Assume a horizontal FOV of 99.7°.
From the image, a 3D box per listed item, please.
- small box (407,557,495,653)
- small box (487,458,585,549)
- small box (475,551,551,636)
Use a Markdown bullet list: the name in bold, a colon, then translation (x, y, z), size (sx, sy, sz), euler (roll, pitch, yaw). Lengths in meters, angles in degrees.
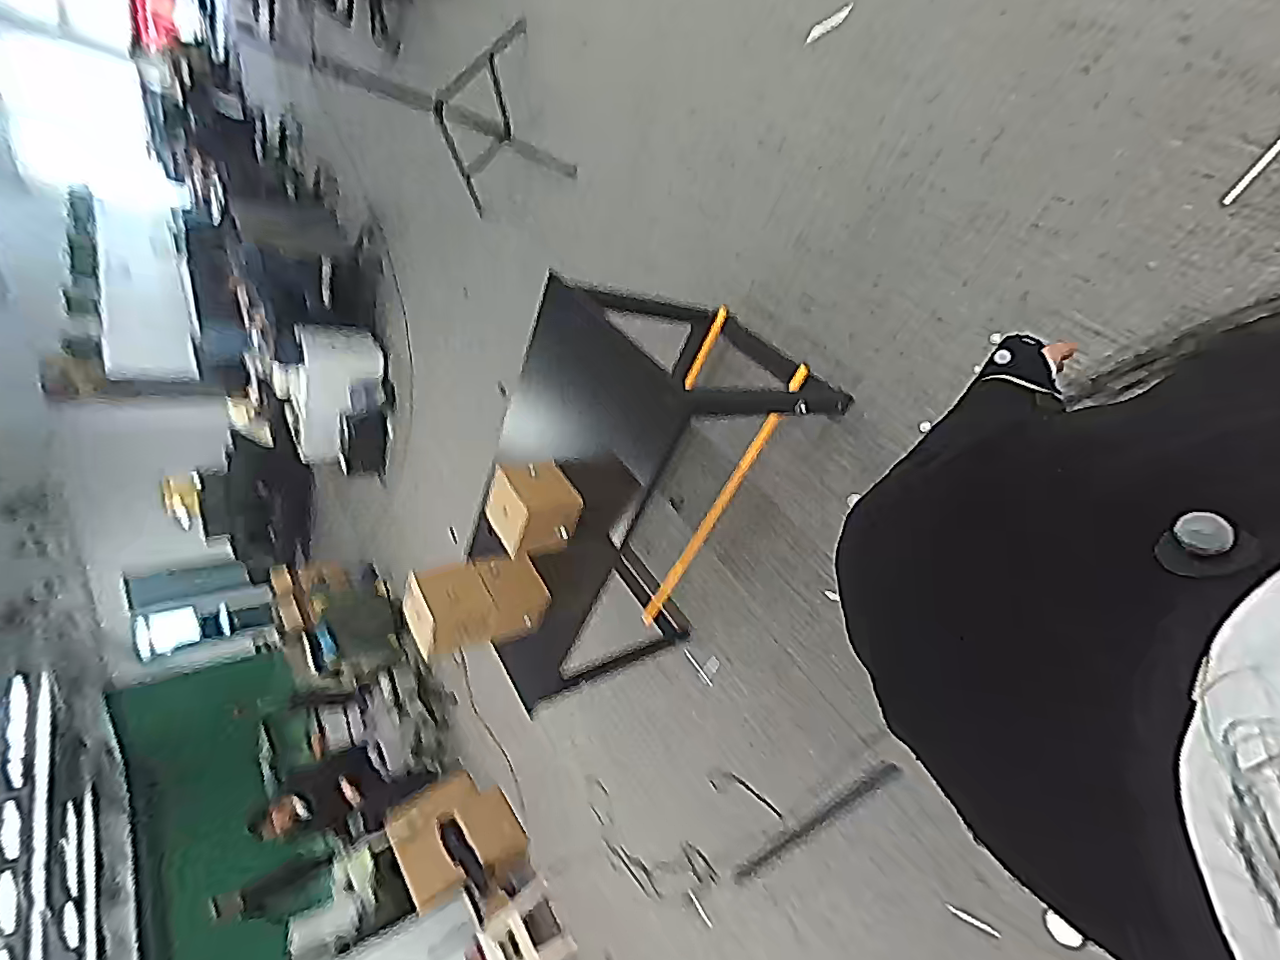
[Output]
- **small box**: translation (-0.518, 0.336, 1.486), size (0.179, 0.176, 0.168), euler (48, 128, 32)
- **small box**: translation (-0.274, 0.055, 1.422), size (0.179, 0.176, 0.168), euler (48, 129, 32)
- **small box**: translation (-0.390, 0.324, 1.588), size (0.179, 0.176, 0.168), euler (51, 130, 31)
